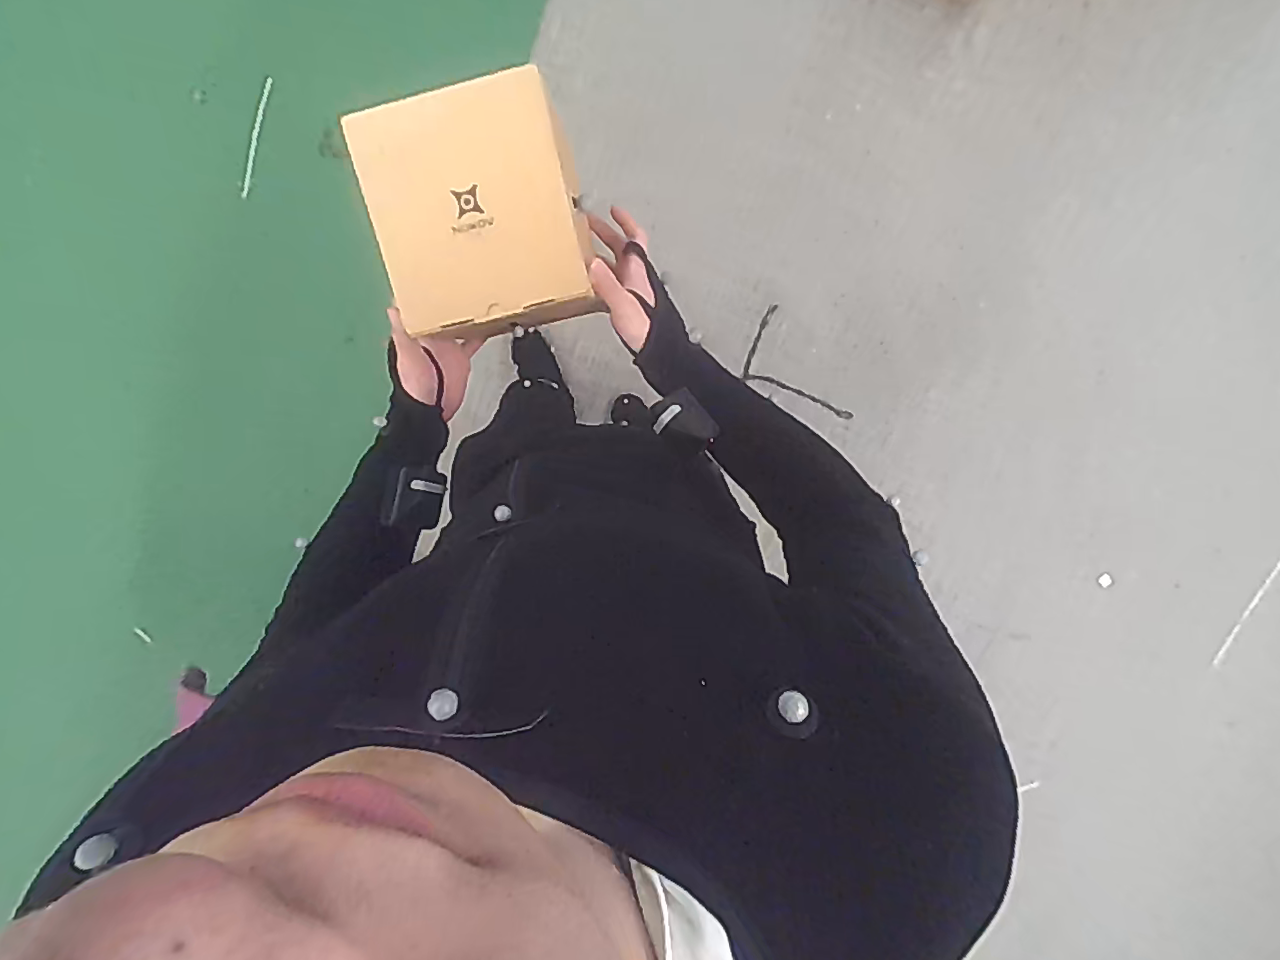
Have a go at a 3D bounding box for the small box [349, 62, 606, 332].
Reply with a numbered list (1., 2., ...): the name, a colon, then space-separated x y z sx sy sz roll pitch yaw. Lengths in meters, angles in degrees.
1. small box: -0.134 -0.247 0.520 0.168 0.176 0.179 -11 105 5
